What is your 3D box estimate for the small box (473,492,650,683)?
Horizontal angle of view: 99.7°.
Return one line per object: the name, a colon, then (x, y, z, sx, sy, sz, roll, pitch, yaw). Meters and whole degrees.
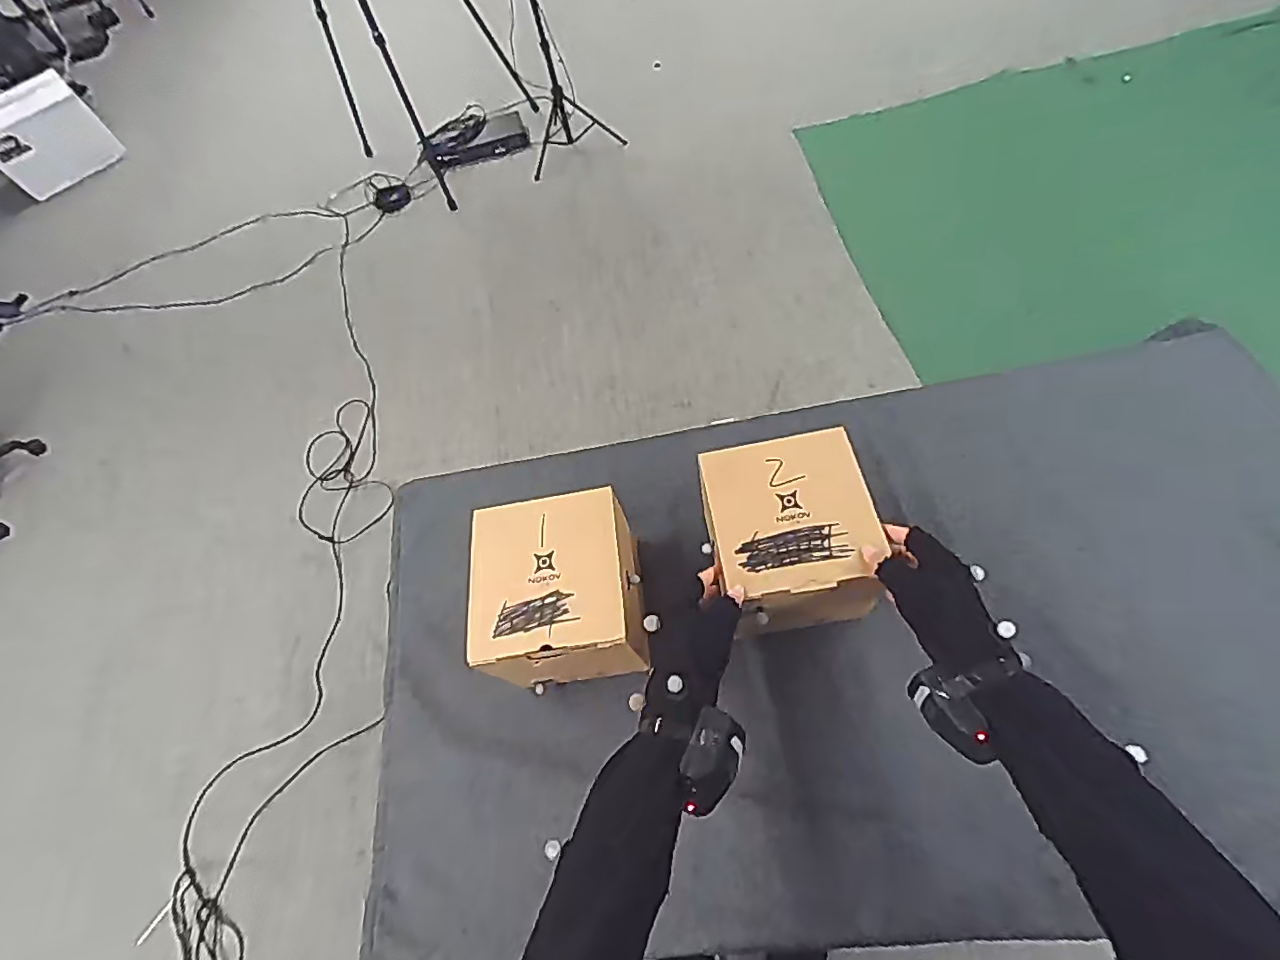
small box: (-0.086, 0.139, 0.651, 0.168, 0.176, 0.179, -10, 59, 5)
